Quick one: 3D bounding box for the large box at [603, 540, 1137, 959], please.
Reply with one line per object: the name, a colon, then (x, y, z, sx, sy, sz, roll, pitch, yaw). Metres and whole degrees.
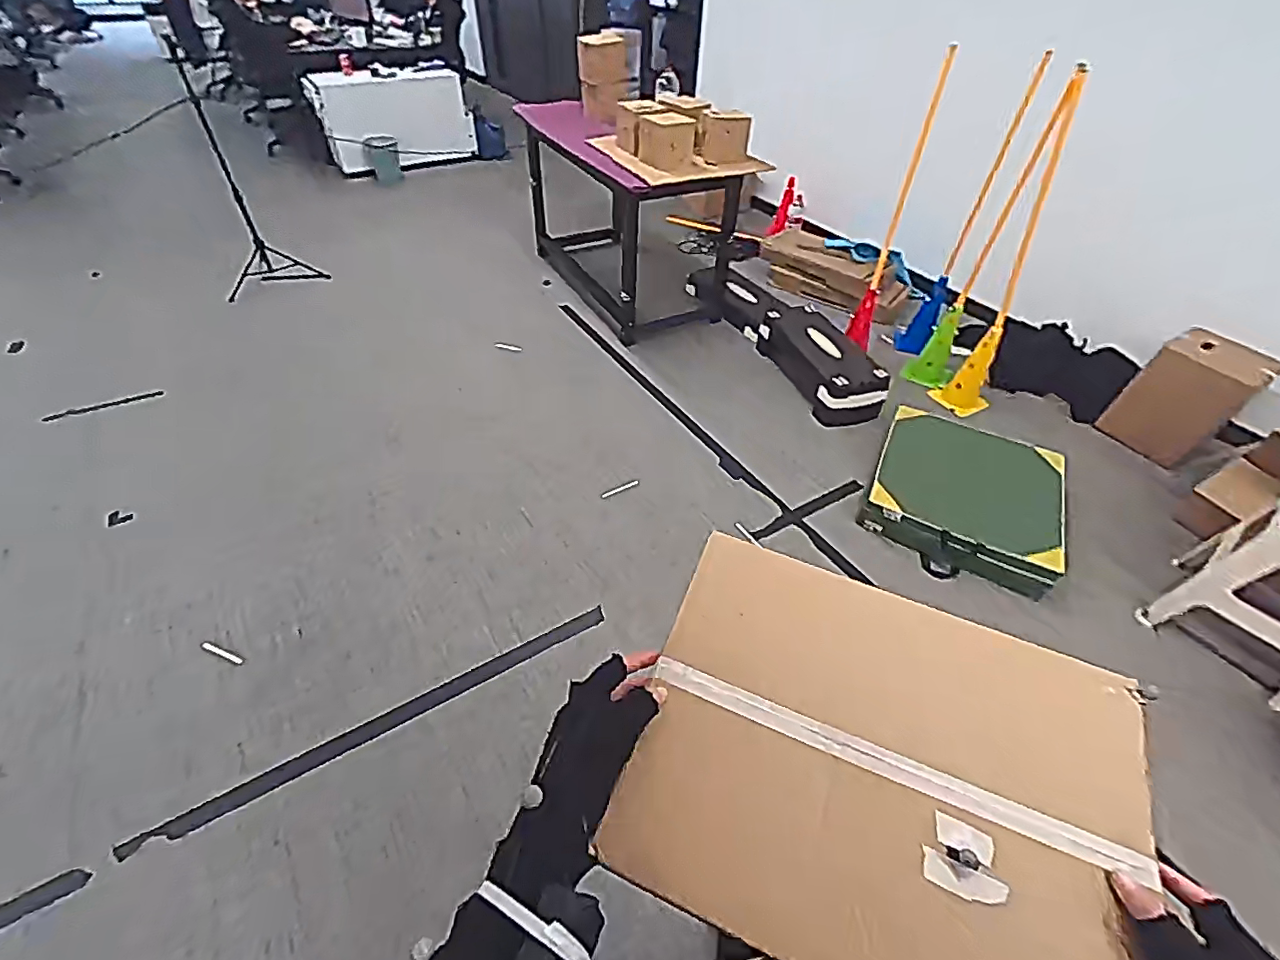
large box: (0.205, 0.323, 0.597, 0.408, 0.320, 0.320, 19, 59, 13)
